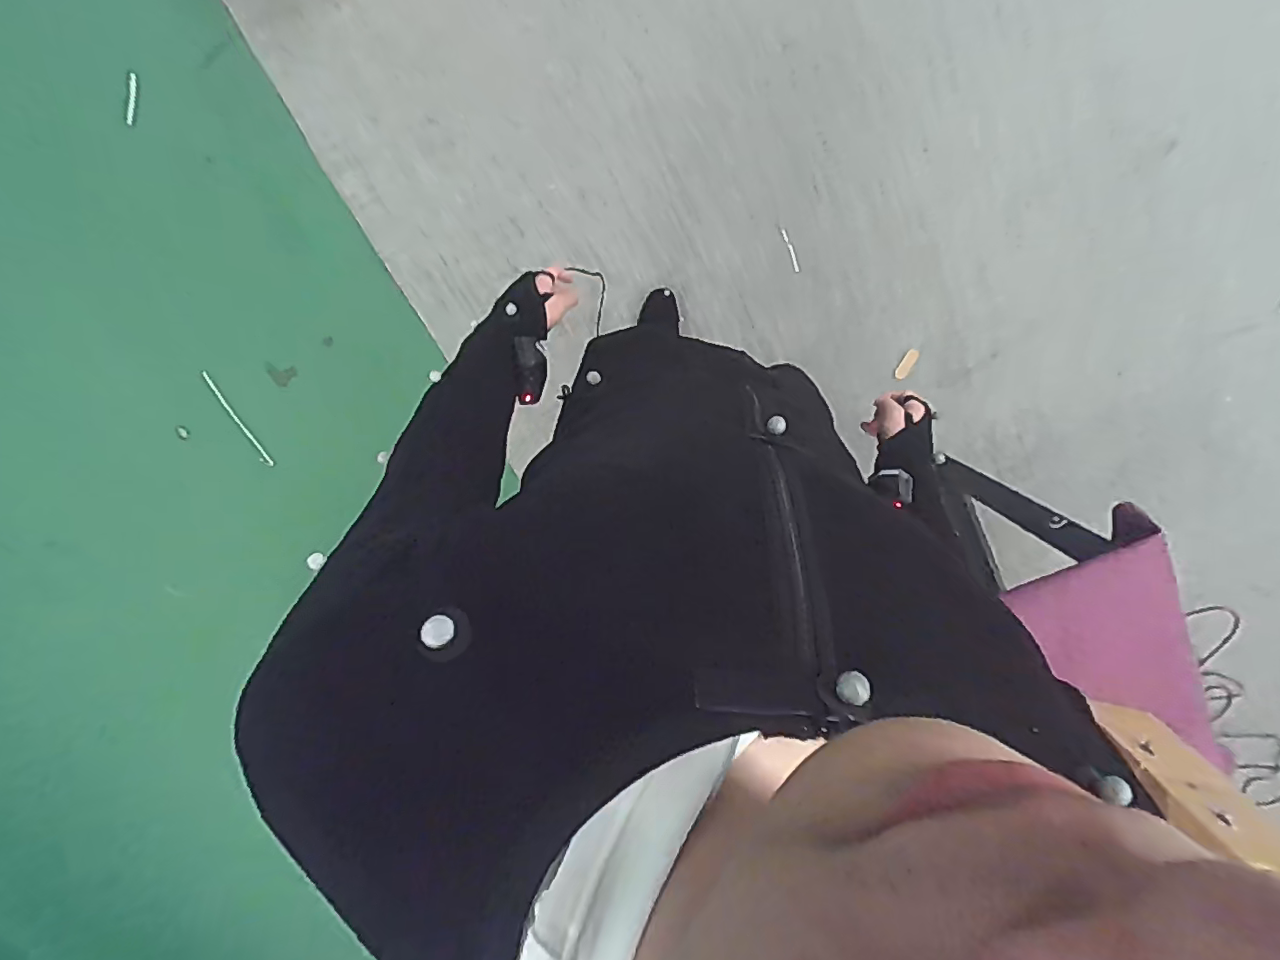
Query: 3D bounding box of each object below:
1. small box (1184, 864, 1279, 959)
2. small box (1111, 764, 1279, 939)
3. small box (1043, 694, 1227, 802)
[{"bbox_3d":[0.886,0.639,0.698,0.179,0.176,0.168,12,108,-3],"label":"small box"},{"bbox_3d":[0.882,0.587,0.851,0.168,0.176,0.179,14,109,-3],"label":"small box"},{"bbox_3d":[0.886,0.527,1.003,0.179,0.176,0.168,14,109,-4],"label":"small box"}]
